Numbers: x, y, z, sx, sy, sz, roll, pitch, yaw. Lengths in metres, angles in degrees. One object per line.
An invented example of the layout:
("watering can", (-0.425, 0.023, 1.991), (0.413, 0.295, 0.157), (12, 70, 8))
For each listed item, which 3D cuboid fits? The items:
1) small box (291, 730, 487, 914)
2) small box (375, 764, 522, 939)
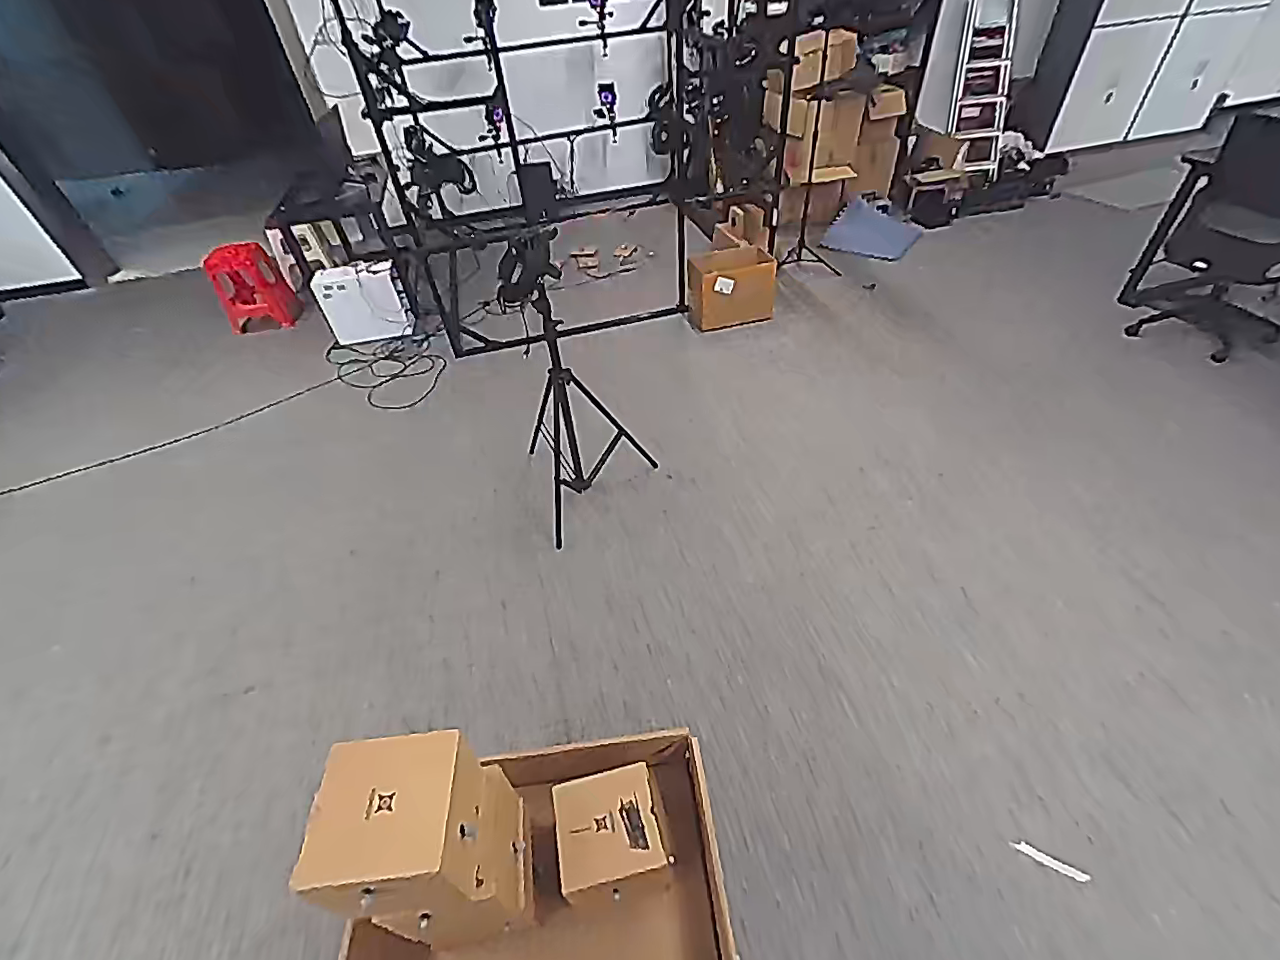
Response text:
("small box", (-0.316, 0.462, 0.730), (0.179, 0.176, 0.168), (-6, 43, -2))
("small box", (-0.283, 0.578, 0.842), (0.168, 0.176, 0.179), (-8, 43, -5))
